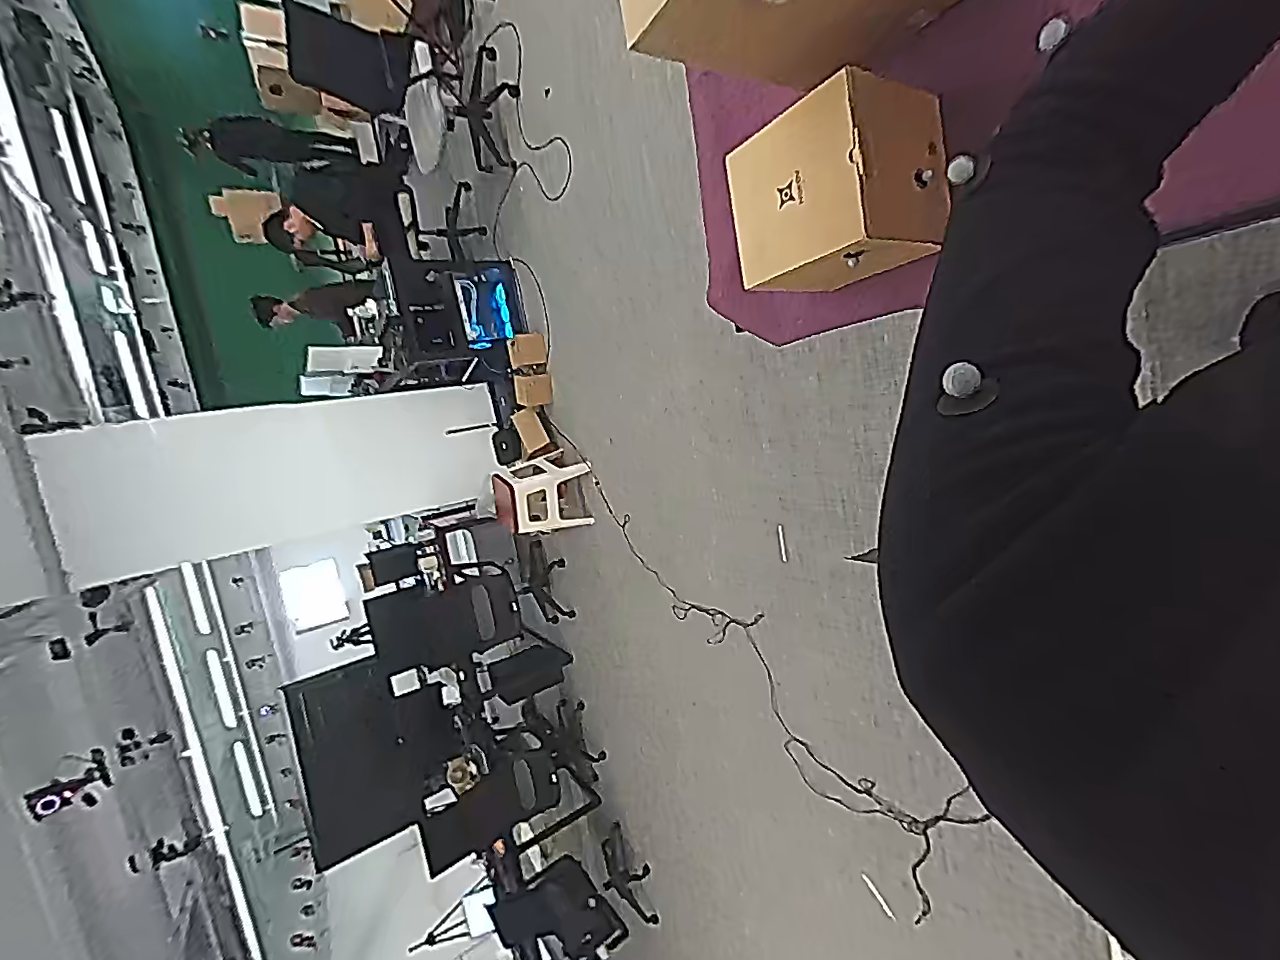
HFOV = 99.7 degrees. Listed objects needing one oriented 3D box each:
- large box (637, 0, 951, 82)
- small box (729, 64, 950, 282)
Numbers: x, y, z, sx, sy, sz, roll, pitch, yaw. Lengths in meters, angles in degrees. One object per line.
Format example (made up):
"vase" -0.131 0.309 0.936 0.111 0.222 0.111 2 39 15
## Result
"large box" 0.170 -0.672 0.486 0.320 0.320 0.408 4 108 58
"small box" 0.236 -0.344 0.650 0.179 0.176 0.168 -2 100 57
